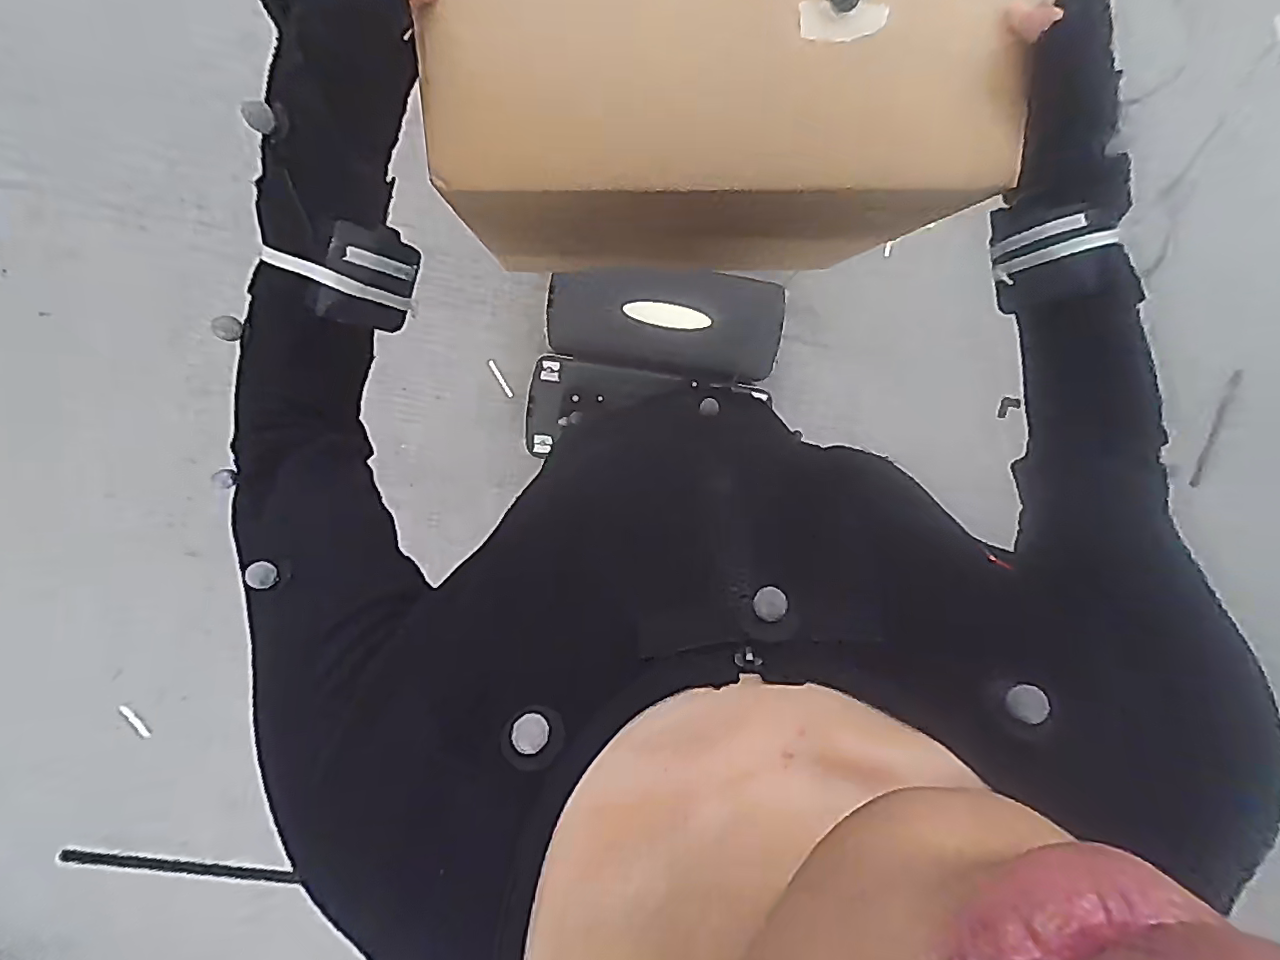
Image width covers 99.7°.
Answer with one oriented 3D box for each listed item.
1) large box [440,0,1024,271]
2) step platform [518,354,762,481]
[{"bbox_3d":[0.051,-0.386,0.495,0.408,0.320,0.320,-3,102,-5],"label":"large box"},{"bbox_3d":[-0.001,-0.176,1.554,0.684,0.204,0.286,7,100,-4],"label":"step platform"}]
